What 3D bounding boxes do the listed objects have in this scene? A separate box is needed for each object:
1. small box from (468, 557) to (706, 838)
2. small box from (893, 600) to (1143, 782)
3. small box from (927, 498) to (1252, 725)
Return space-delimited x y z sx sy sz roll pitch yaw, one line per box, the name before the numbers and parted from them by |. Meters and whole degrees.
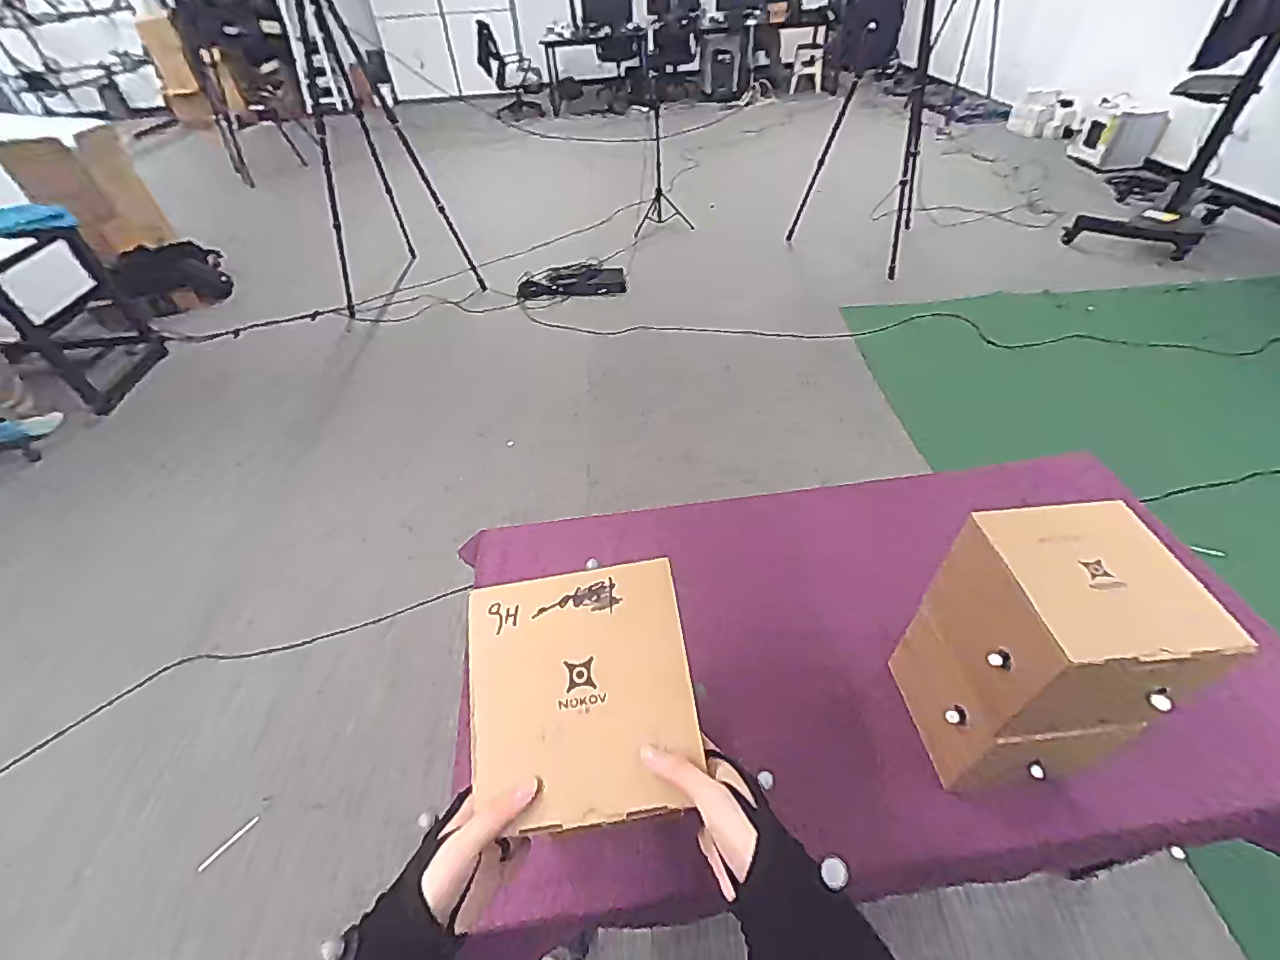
small box | -0.039 0.182 0.473 0.168 0.176 0.179 -10 67 0
small box | 0.451 0.263 0.684 0.168 0.176 0.179 -6 44 -1
small box | 0.439 0.144 0.572 0.168 0.176 0.179 -5 44 0
